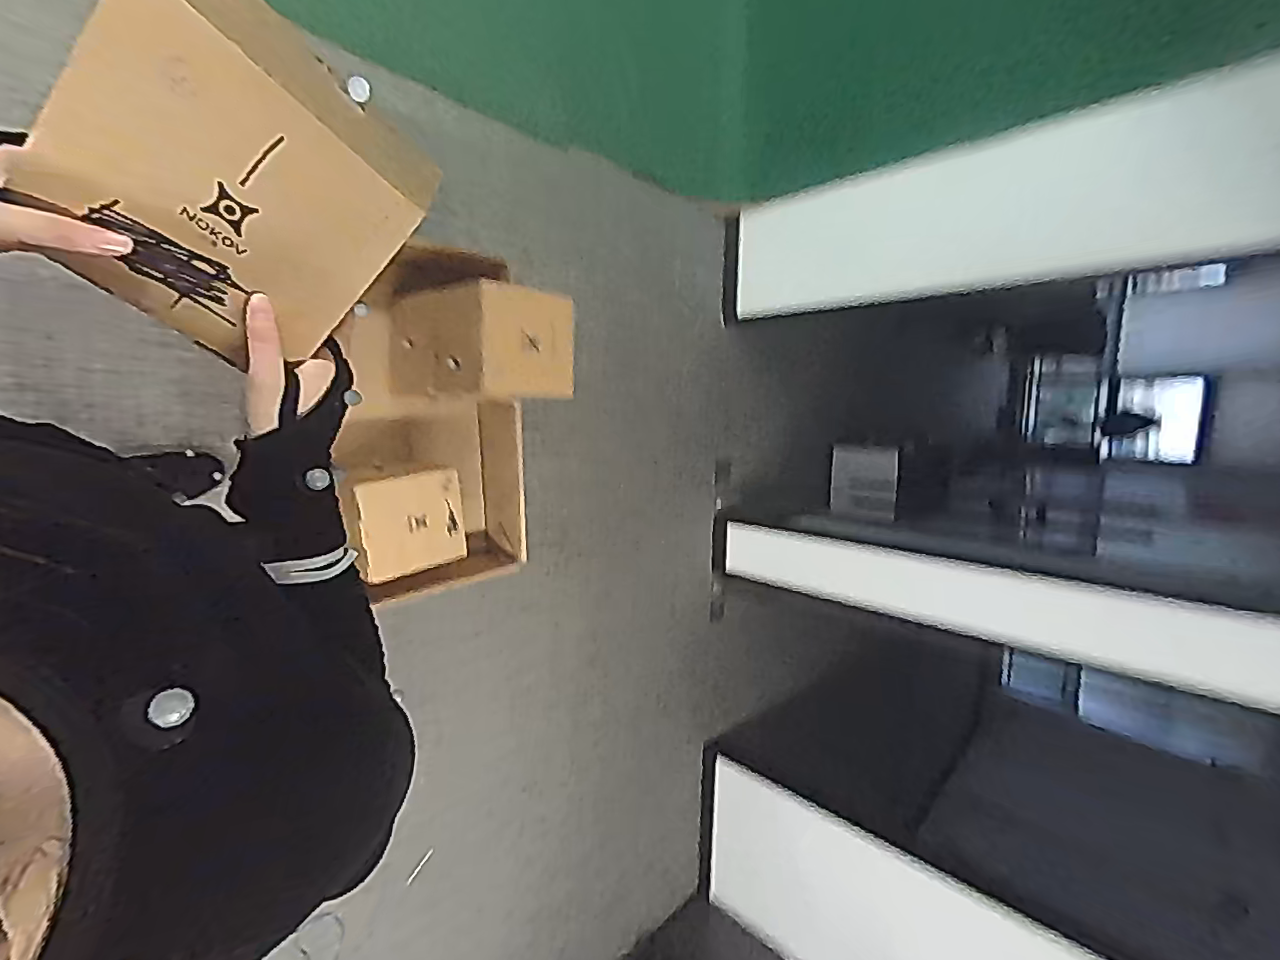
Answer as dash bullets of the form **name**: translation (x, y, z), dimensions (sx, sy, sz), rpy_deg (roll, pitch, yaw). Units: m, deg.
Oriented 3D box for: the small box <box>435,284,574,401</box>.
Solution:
- **small box**: translation (-0.232, -0.222, 0.919), dimensions (0.179, 0.176, 0.168), rpy_deg (-6, 101, -47)
